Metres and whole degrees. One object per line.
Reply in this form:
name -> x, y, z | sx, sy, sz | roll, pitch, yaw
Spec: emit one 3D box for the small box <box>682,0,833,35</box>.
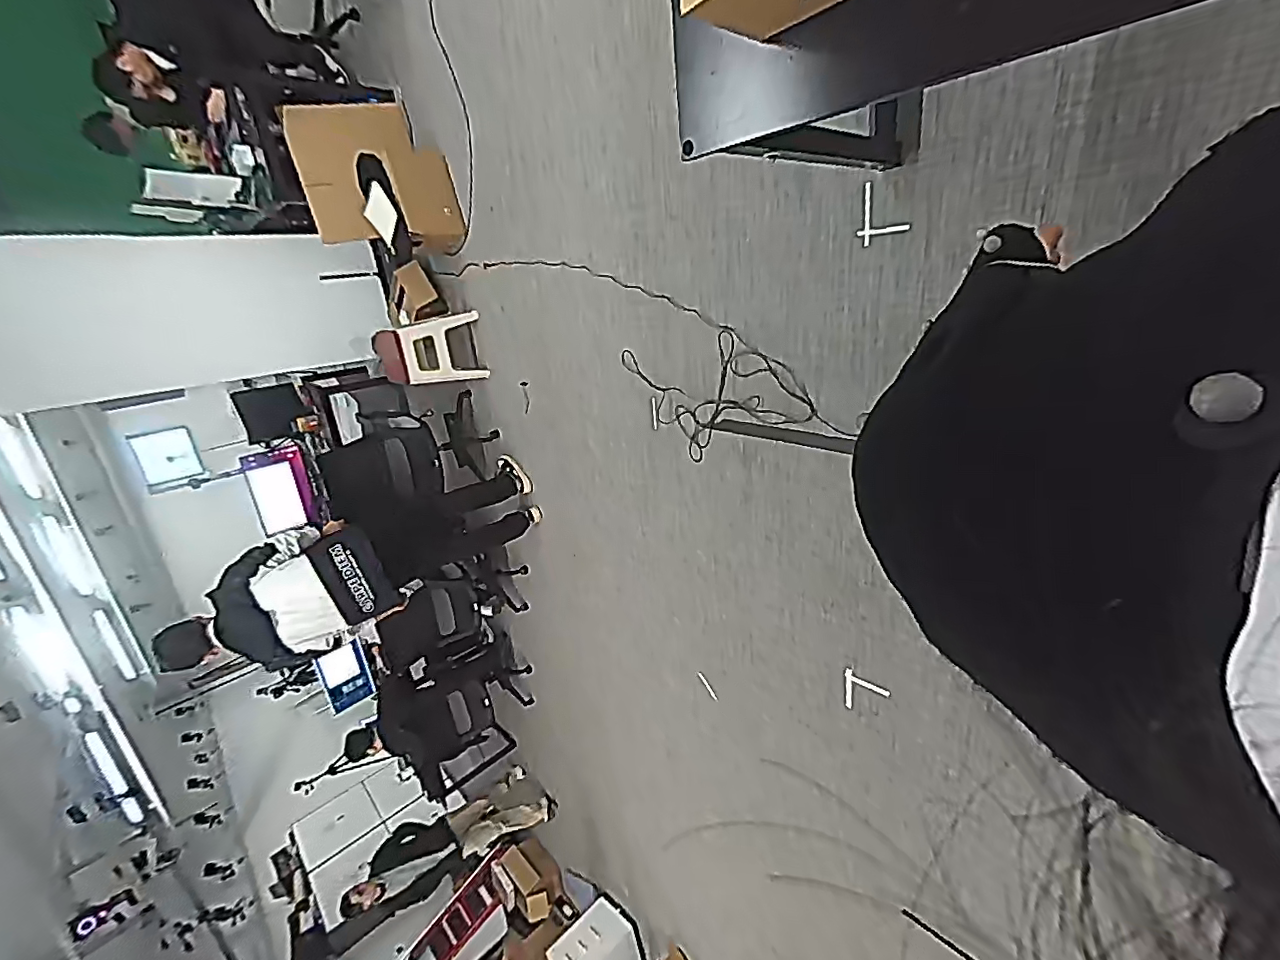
small box -> 0.161, -0.669, 0.635 | 0.179, 0.176, 0.168 | 13, 116, 47
